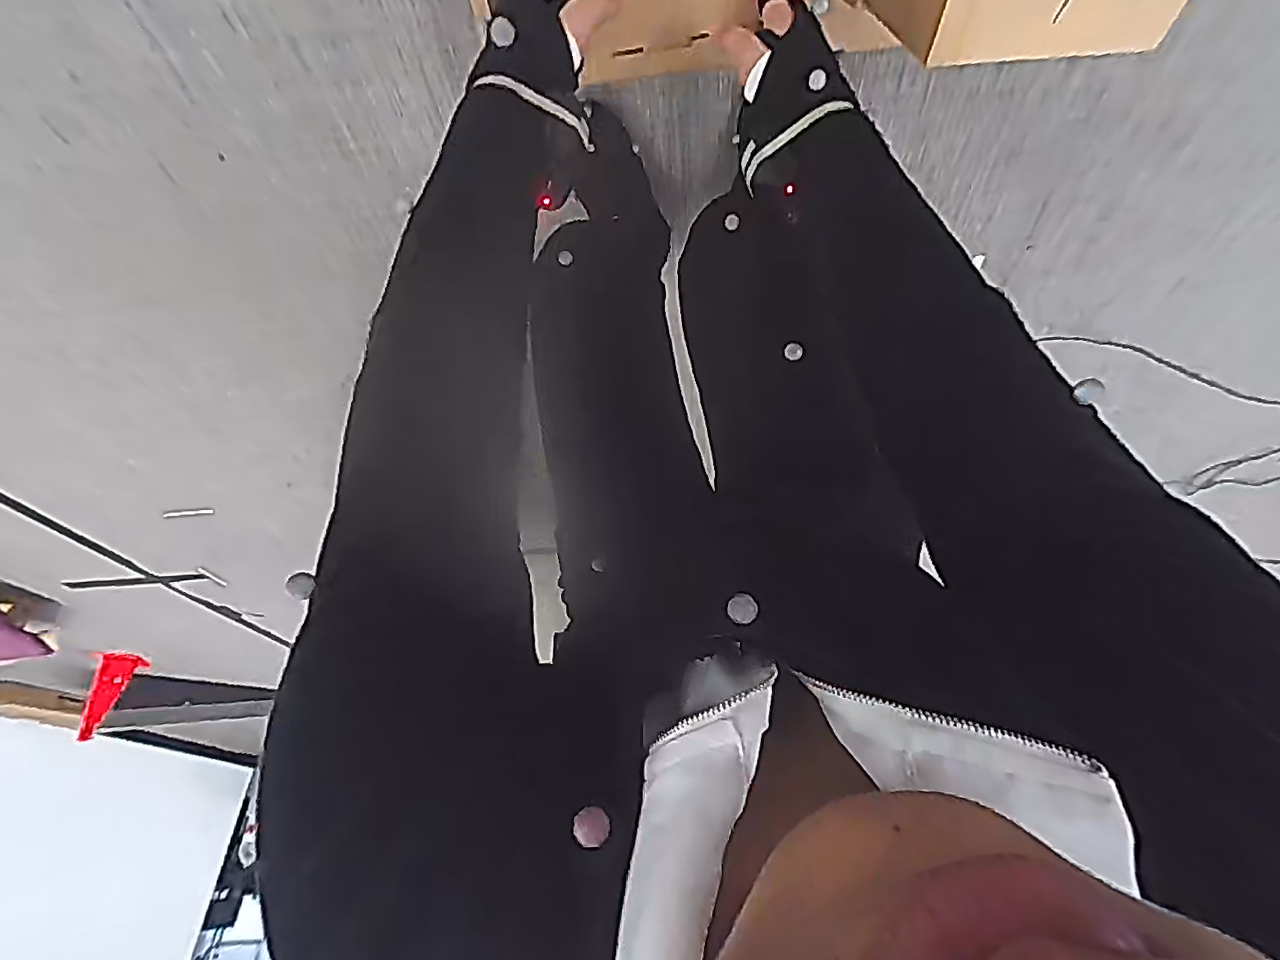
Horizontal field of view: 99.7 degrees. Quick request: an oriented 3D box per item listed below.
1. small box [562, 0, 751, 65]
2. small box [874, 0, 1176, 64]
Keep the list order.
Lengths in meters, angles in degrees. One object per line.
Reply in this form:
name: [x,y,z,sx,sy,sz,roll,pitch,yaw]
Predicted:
small box: [0.007,-0.509,0.477,0.168,0.176,0.179,-7,140,8]
small box: [0.274,-0.419,0.366,0.168,0.176,0.179,-3,145,1]
